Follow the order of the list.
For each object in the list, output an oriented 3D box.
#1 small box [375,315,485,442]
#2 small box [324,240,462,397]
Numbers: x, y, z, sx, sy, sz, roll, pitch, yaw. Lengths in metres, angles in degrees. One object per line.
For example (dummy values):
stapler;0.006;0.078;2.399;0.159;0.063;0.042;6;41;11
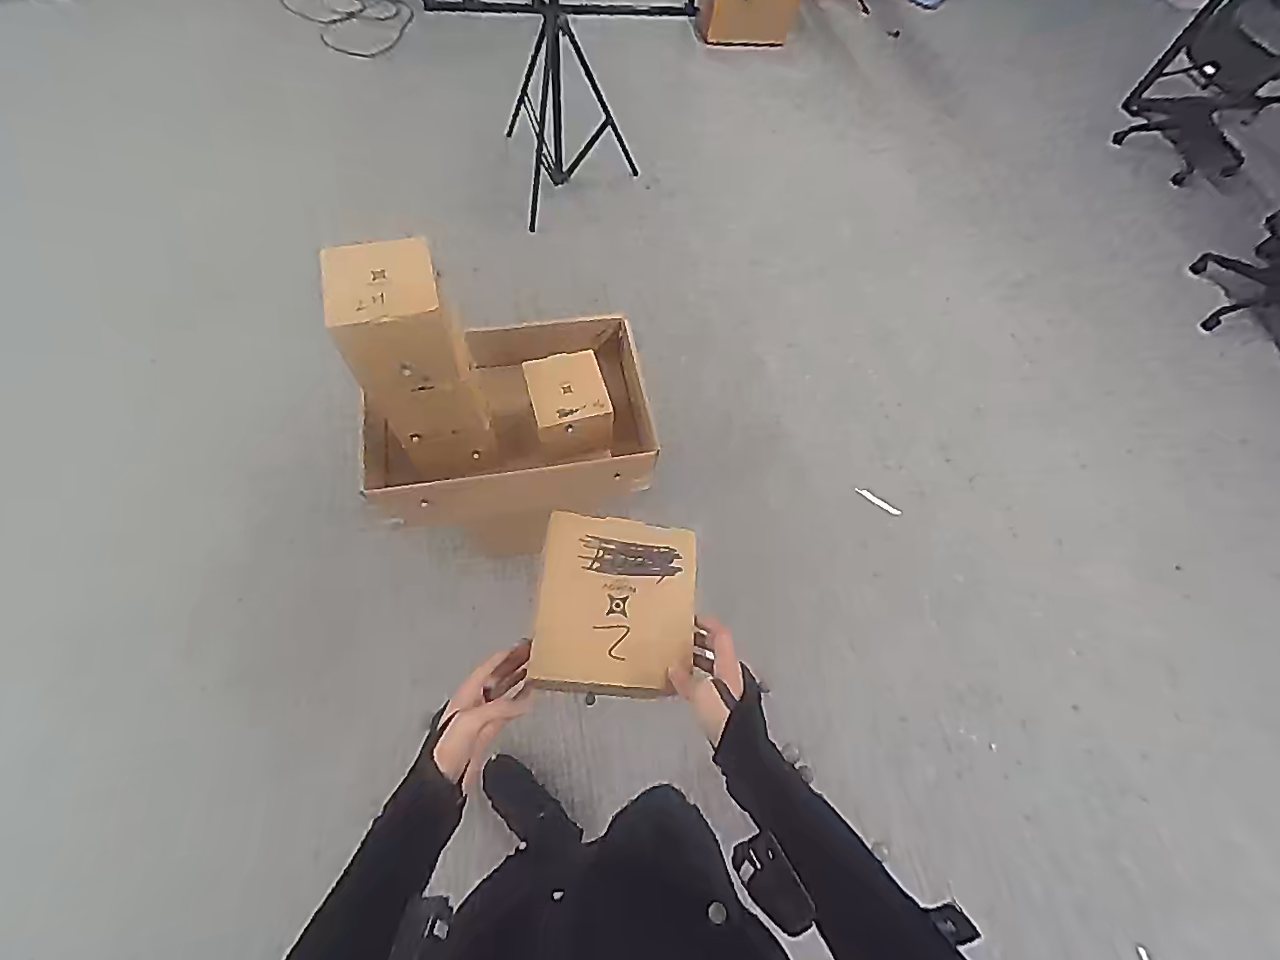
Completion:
small box;-0.408;-0.189;1.056;0.168;0.176;0.179;-12;64;-11
small box;-0.408;-0.268;0.910;0.168;0.176;0.179;-13;64;-11
